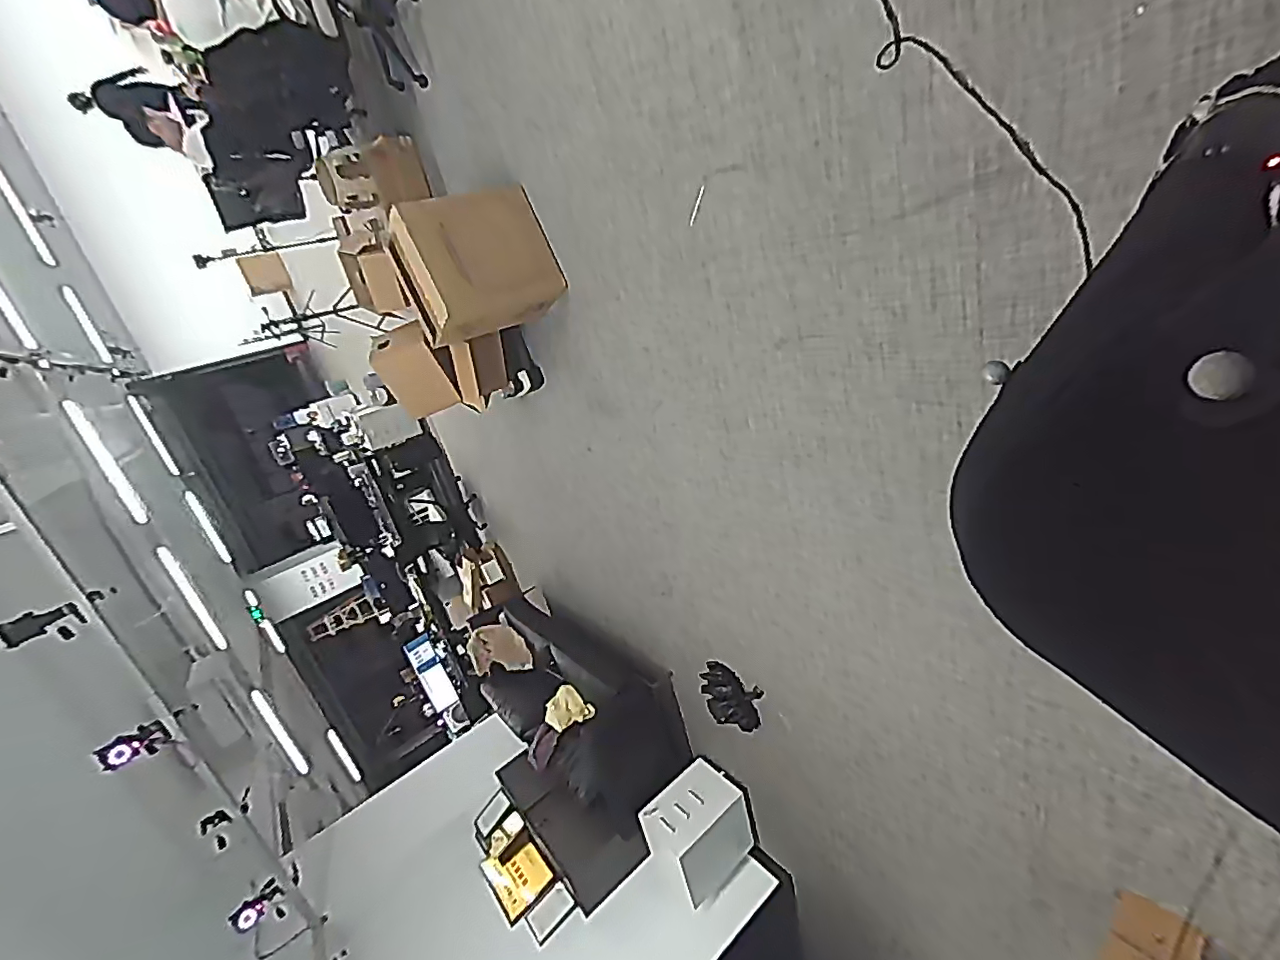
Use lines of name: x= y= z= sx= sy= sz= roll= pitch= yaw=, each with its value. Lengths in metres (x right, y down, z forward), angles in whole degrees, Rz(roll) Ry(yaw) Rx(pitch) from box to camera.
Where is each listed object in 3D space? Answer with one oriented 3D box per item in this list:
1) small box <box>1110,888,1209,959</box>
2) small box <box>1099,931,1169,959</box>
small box: x=1.498 y=1.338 z=1.564 sx=0.179 sy=0.176 sz=0.168 roll=11 pitch=124 yaw=51
small box: x=1.372 y=1.395 z=1.478 sx=0.179 sy=0.176 sz=0.168 roll=15 pitch=127 yaw=52
